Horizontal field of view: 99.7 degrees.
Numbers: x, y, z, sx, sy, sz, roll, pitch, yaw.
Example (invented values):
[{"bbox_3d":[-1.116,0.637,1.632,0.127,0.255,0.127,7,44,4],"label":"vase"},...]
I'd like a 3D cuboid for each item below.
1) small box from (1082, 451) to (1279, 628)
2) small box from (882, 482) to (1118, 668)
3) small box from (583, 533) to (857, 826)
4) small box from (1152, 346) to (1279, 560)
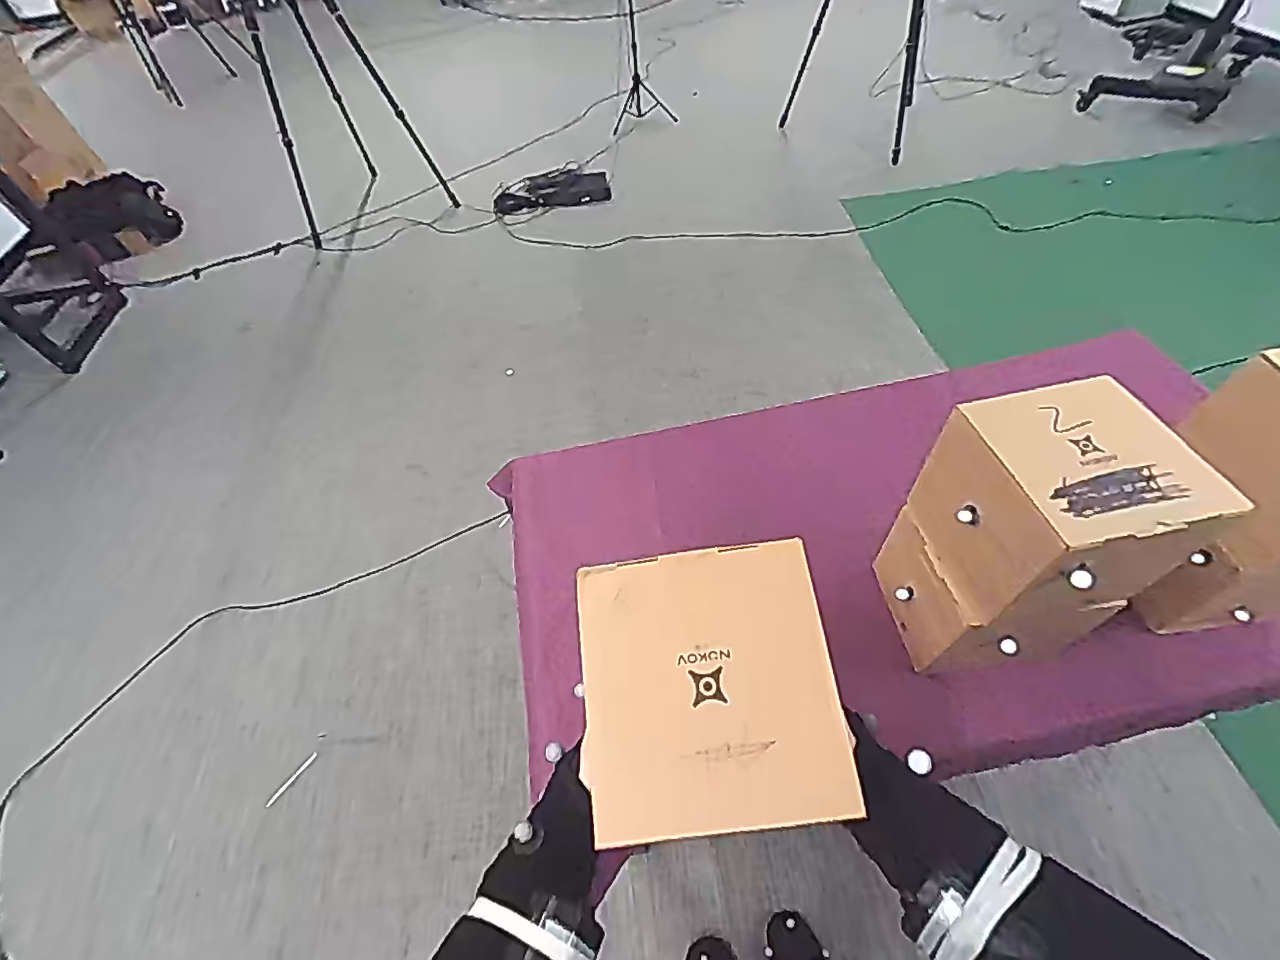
[{"bbox_3d":[0.737,0.070,0.700,0.168,0.176,0.179,-8,53,1],"label":"small box"},{"bbox_3d":[0.431,0.128,0.692,0.179,0.176,0.168,-9,52,1],"label":"small box"},{"bbox_3d":[0.052,0.158,0.441,0.168,0.176,0.179,-8,67,3],"label":"small box"},{"bbox_3d":[0.722,-0.029,0.569,0.168,0.176,0.179,-8,53,0],"label":"small box"}]
